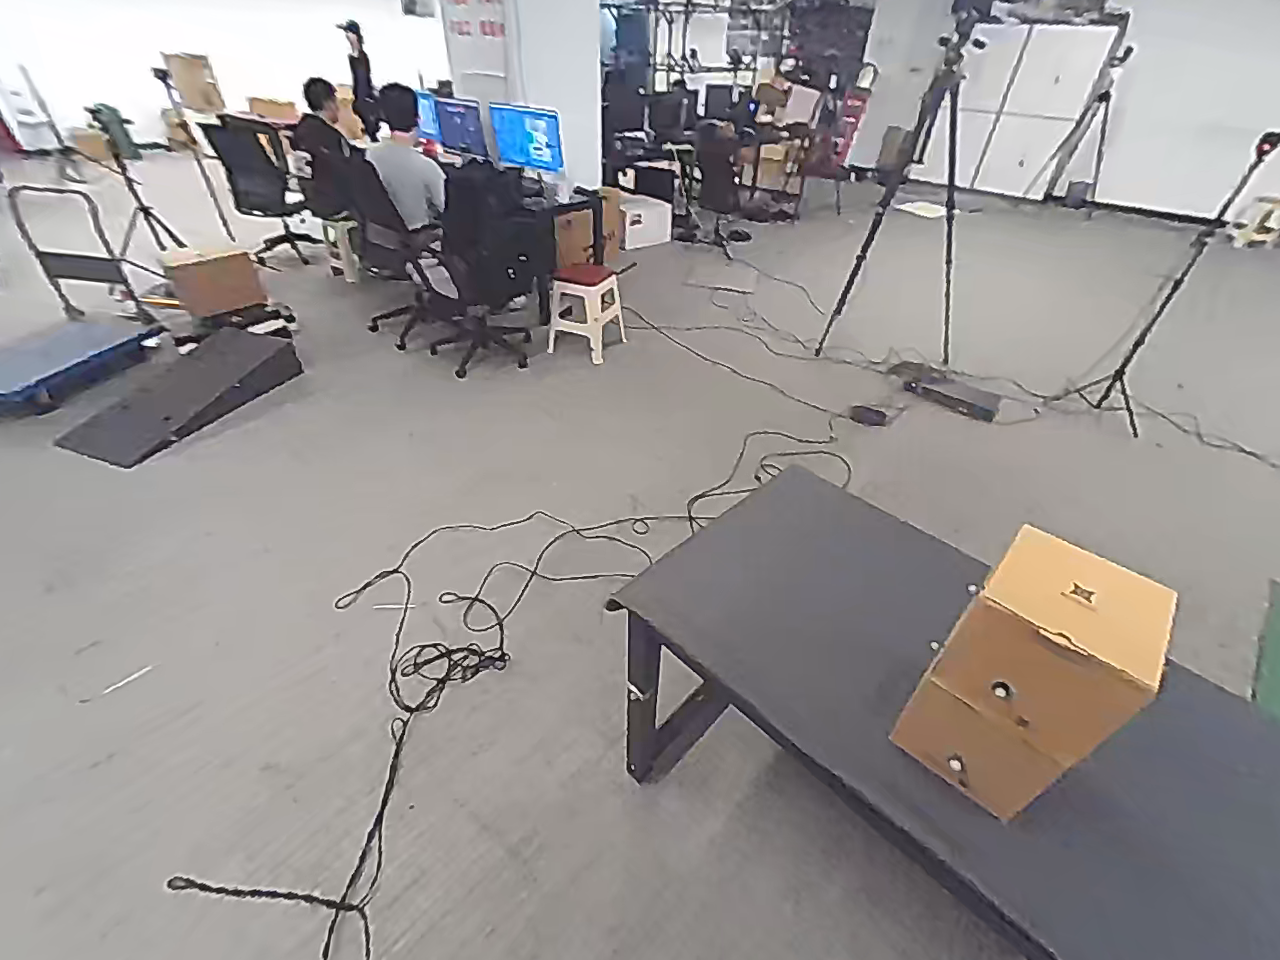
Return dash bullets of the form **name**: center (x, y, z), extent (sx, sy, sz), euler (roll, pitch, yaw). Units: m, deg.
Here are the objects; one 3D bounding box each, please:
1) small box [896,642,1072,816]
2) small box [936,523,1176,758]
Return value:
- **small box**: center (0.490, 0.318, 0.762), extent (0.168, 0.176, 0.179), euler (31, 46, 32)
- **small box**: center (0.496, 0.191, 0.662), extent (0.168, 0.176, 0.179), euler (31, 47, 32)
